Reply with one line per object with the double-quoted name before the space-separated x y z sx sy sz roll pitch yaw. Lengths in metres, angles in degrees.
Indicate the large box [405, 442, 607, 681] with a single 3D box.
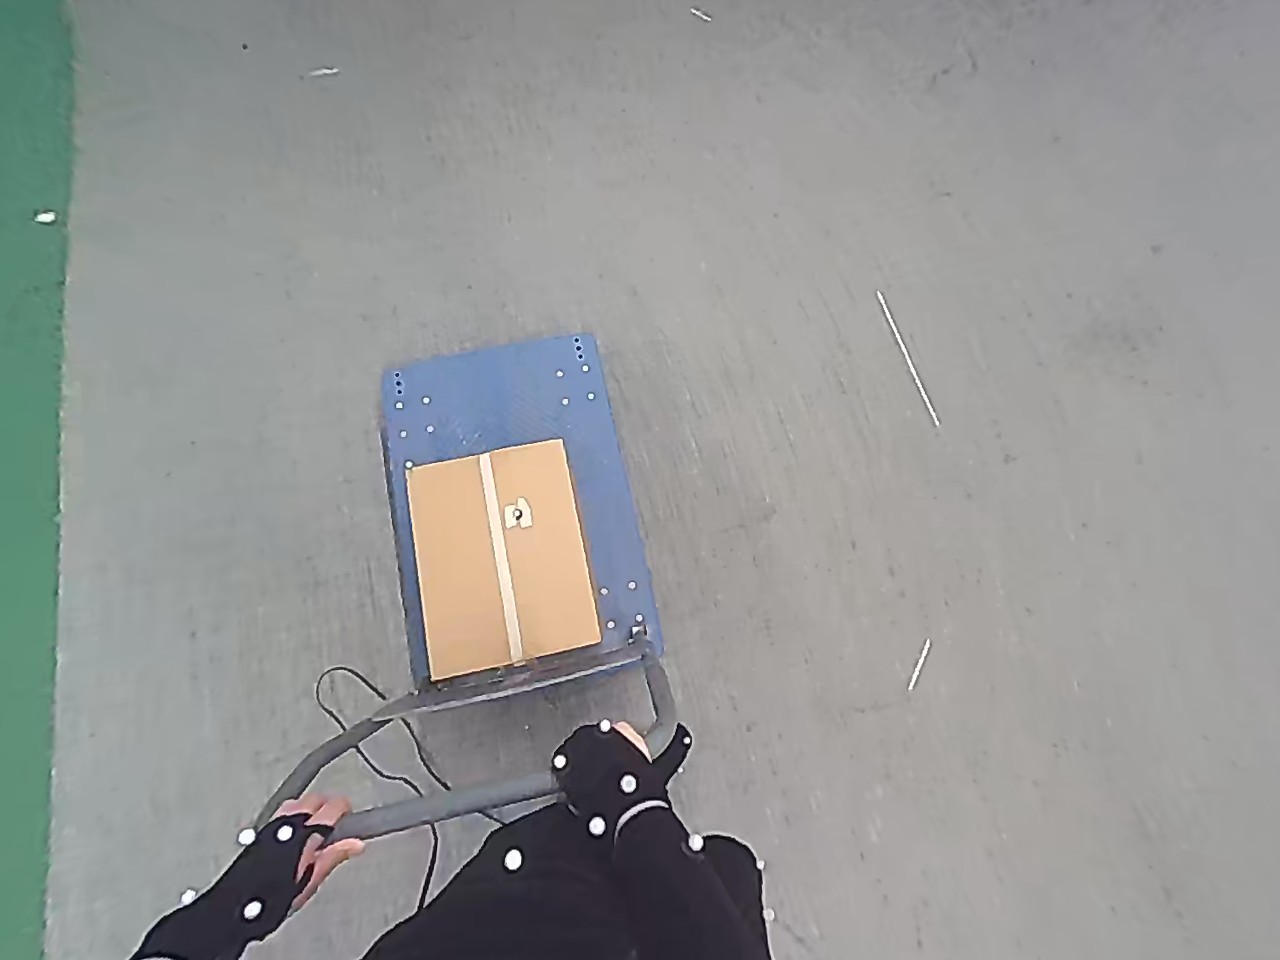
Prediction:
"large box" -0.268 0.180 1.171 0.320 0.320 0.408 -13 77 -6
